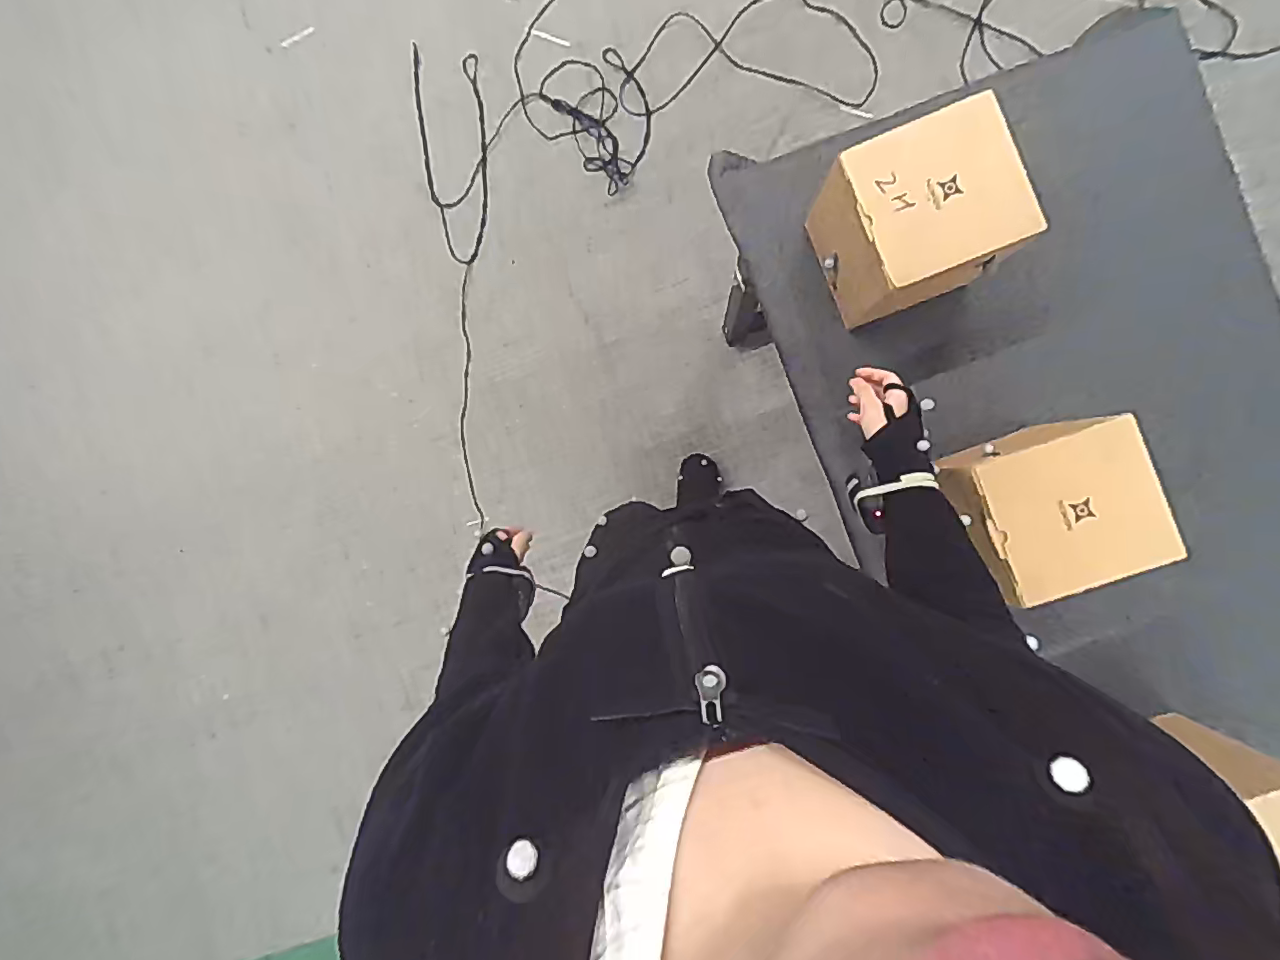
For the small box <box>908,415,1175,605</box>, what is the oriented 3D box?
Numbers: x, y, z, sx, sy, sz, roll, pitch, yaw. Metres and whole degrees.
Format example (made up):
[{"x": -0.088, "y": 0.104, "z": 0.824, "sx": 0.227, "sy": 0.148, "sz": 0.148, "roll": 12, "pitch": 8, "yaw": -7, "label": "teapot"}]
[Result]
[{"x": 0.468, "y": 0.029, "z": 0.659, "sx": 0.179, "sy": 0.176, "sz": 0.168, "roll": -20, "pitch": 90, "yaw": 3, "label": "small box"}]

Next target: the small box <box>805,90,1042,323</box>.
[{"x": 0.329, "y": -0.316, "z": 0.664, "sx": 0.179, "sy": 0.176, "sz": 0.168, "roll": -21, "pitch": 89, "yaw": 4, "label": "small box"}]
